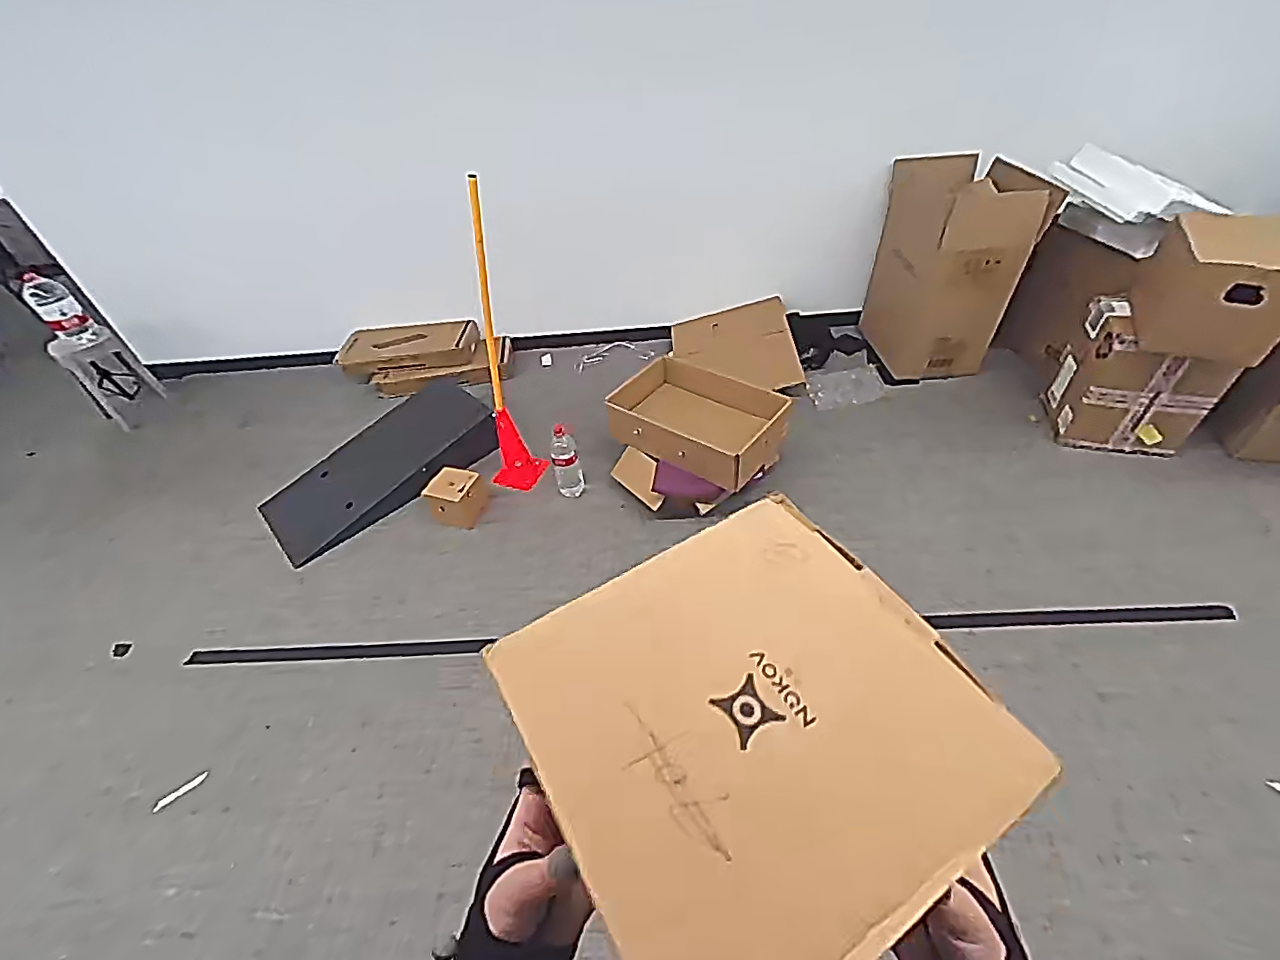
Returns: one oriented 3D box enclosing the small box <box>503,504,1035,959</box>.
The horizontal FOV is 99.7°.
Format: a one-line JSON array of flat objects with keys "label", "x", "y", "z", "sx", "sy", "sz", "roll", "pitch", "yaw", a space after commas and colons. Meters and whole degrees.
[{"label": "small box", "x": 0.049, "y": 0.151, "z": 0.296, "sx": 0.179, "sy": 0.176, "sz": 0.168, "roll": -26, "pitch": 53, "yaw": -21}]
